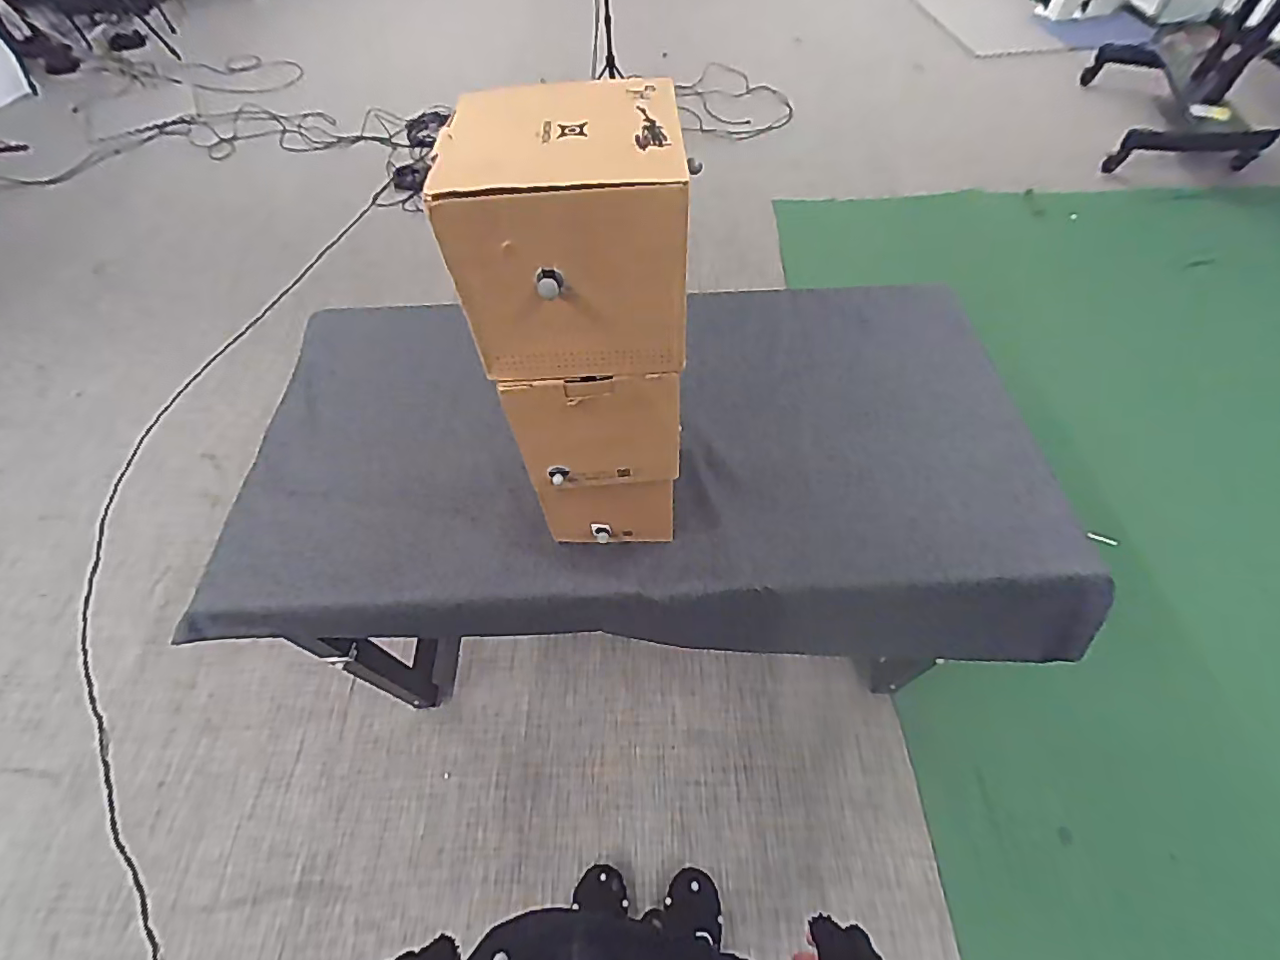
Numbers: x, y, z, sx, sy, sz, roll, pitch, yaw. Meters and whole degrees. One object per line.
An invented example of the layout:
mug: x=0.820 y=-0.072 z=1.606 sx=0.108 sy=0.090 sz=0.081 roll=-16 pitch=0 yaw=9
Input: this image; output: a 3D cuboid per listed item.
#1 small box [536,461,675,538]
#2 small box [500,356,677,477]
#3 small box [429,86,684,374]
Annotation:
small box: x=-0.038 y=-0.036 z=0.745 sx=0.168 sy=0.176 sz=0.179 roll=-3 pitch=57 yaw=3
small box: x=-0.051 y=-0.116 z=0.602 sx=0.168 sy=0.176 sz=0.179 roll=-8 pitch=57 yaw=-1
small box: x=-0.056 y=-0.209 z=0.470 sx=0.179 sy=0.176 sz=0.168 roll=-6 pitch=54 yaw=0
